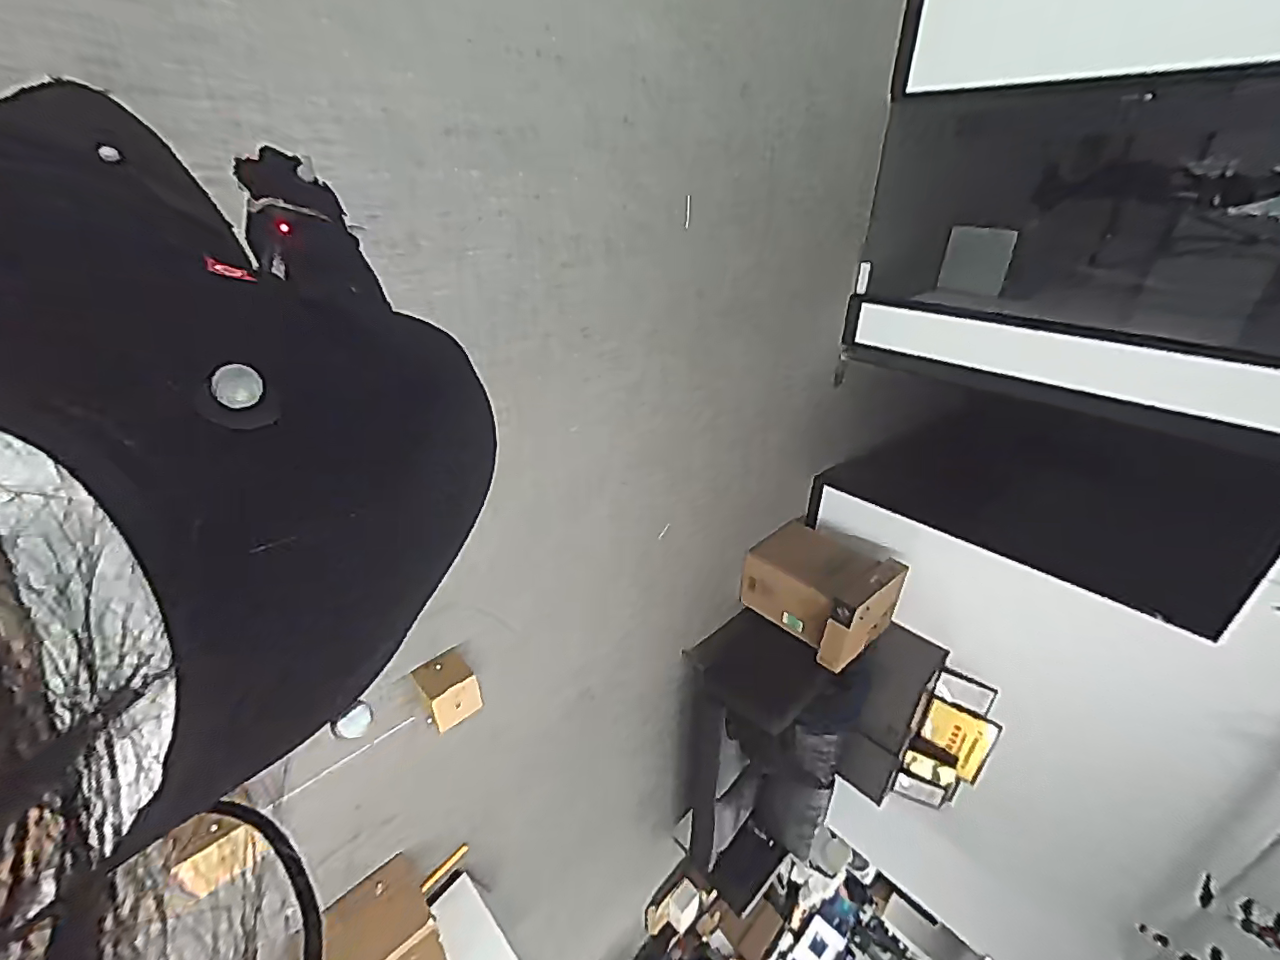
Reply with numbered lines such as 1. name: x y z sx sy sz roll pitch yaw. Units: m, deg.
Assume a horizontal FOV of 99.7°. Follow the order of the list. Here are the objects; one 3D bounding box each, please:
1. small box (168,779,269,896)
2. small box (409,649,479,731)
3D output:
1. small box: -1.188 0.998 1.520 0.179 0.176 0.168 -27 129 -38
2. small box: -0.698 0.742 1.926 0.168 0.176 0.179 -27 130 -37
